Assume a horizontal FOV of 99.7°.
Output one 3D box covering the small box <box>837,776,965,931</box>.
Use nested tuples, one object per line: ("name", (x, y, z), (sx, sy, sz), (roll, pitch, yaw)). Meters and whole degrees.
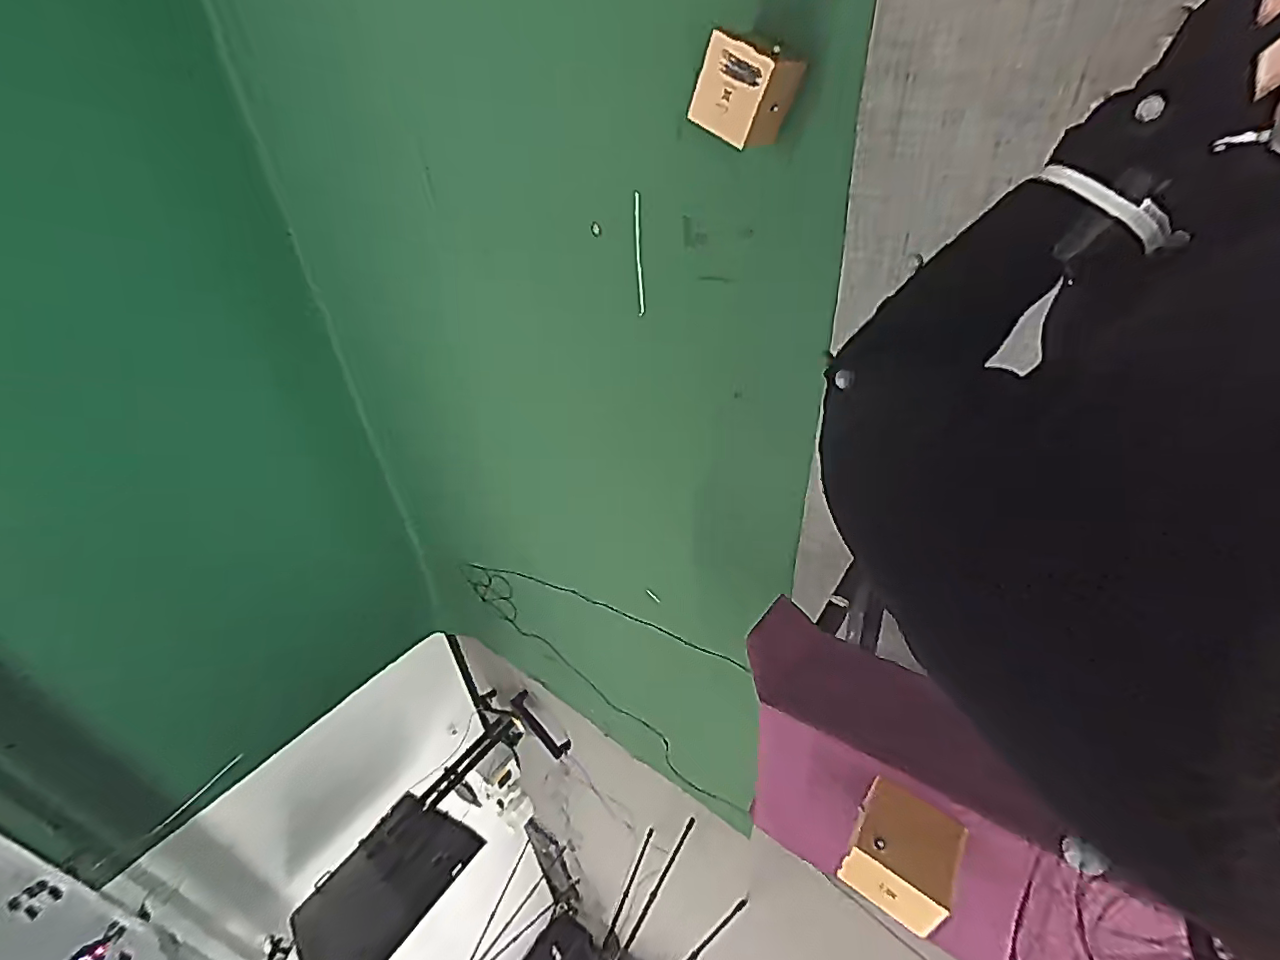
("small box", (0.532, 0.750, 1.101), (0.179, 0.176, 0.168), (24, 134, 29))
